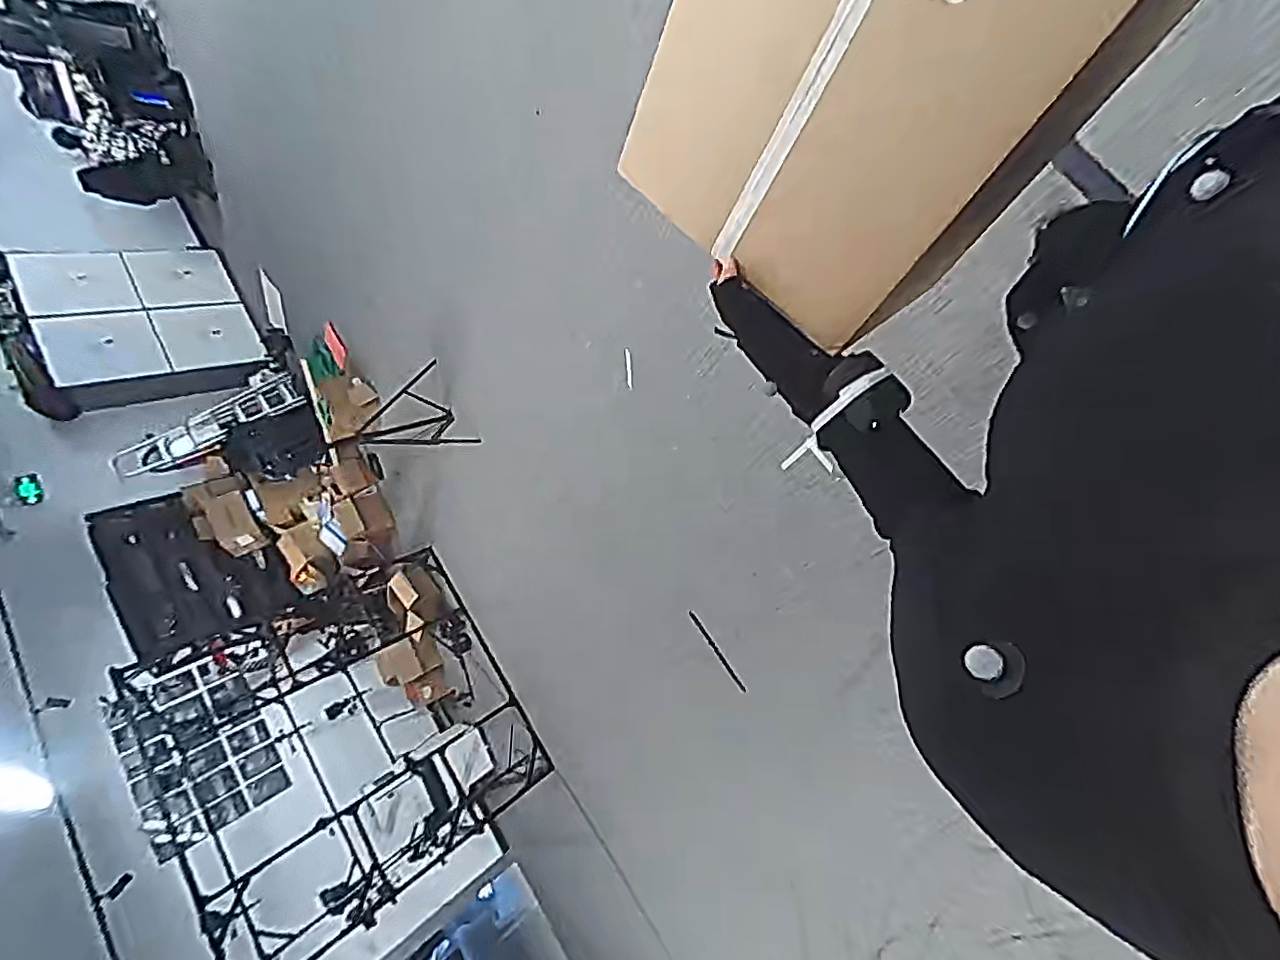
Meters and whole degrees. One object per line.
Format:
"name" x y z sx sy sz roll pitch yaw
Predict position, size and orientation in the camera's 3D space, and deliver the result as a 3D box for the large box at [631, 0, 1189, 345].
"large box" 0.257 -0.408 0.512 0.320 0.320 0.408 45 137 12
